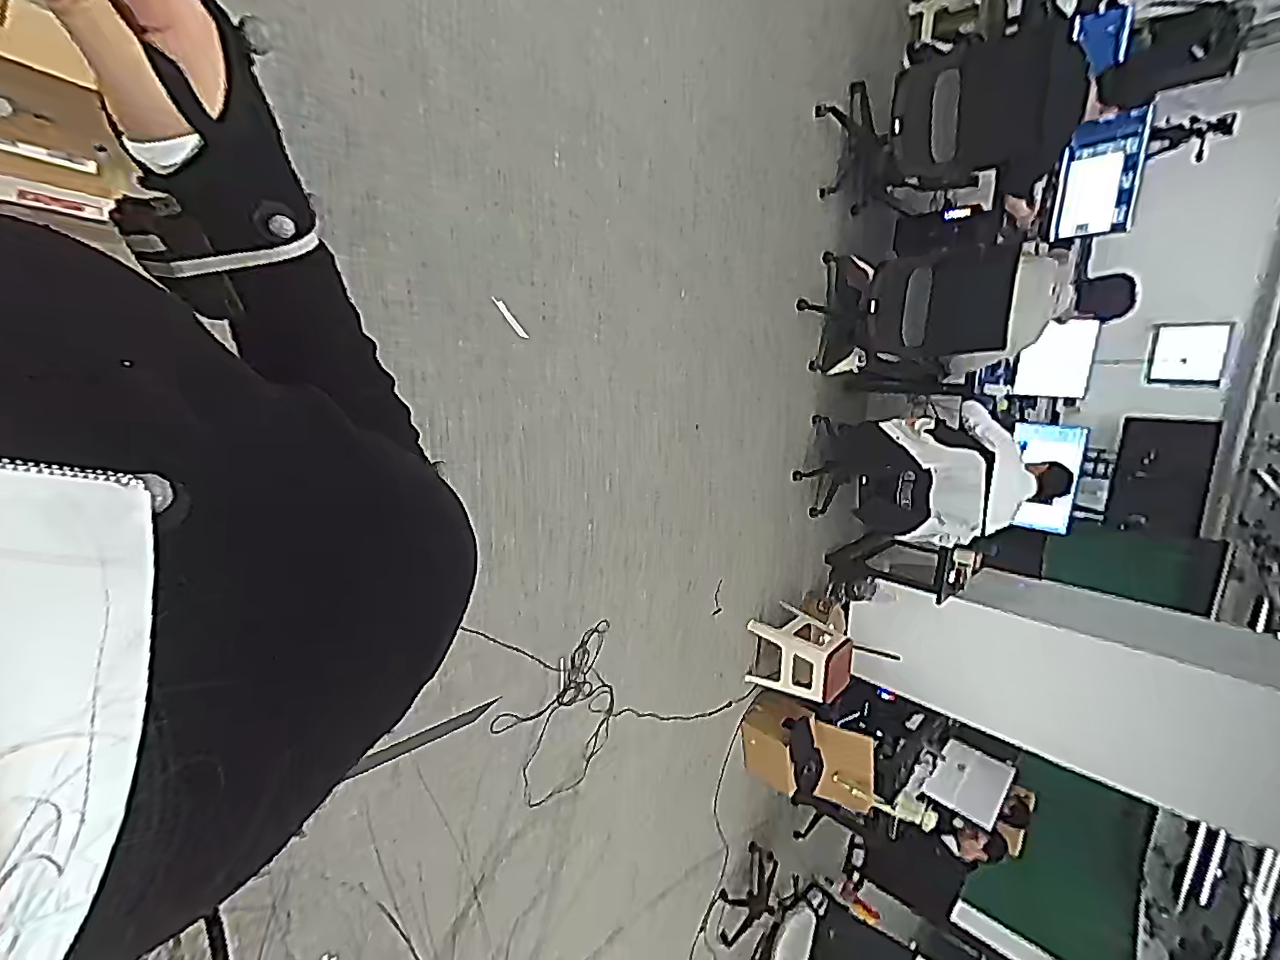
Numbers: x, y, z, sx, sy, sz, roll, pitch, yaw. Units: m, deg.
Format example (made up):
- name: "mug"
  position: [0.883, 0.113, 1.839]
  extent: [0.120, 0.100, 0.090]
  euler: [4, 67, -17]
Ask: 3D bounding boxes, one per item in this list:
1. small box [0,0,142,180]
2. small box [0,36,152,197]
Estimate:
- name: "small box"
  position: [-0.577, -0.404, 0.490]
  extent: [0.168, 0.176, 0.179]
  euler: [-2, 102, -49]
- name: "small box"
  position: [-0.686, -0.437, 0.610]
  extent: [0.179, 0.176, 0.168]
  euler: [-7, 105, -48]
